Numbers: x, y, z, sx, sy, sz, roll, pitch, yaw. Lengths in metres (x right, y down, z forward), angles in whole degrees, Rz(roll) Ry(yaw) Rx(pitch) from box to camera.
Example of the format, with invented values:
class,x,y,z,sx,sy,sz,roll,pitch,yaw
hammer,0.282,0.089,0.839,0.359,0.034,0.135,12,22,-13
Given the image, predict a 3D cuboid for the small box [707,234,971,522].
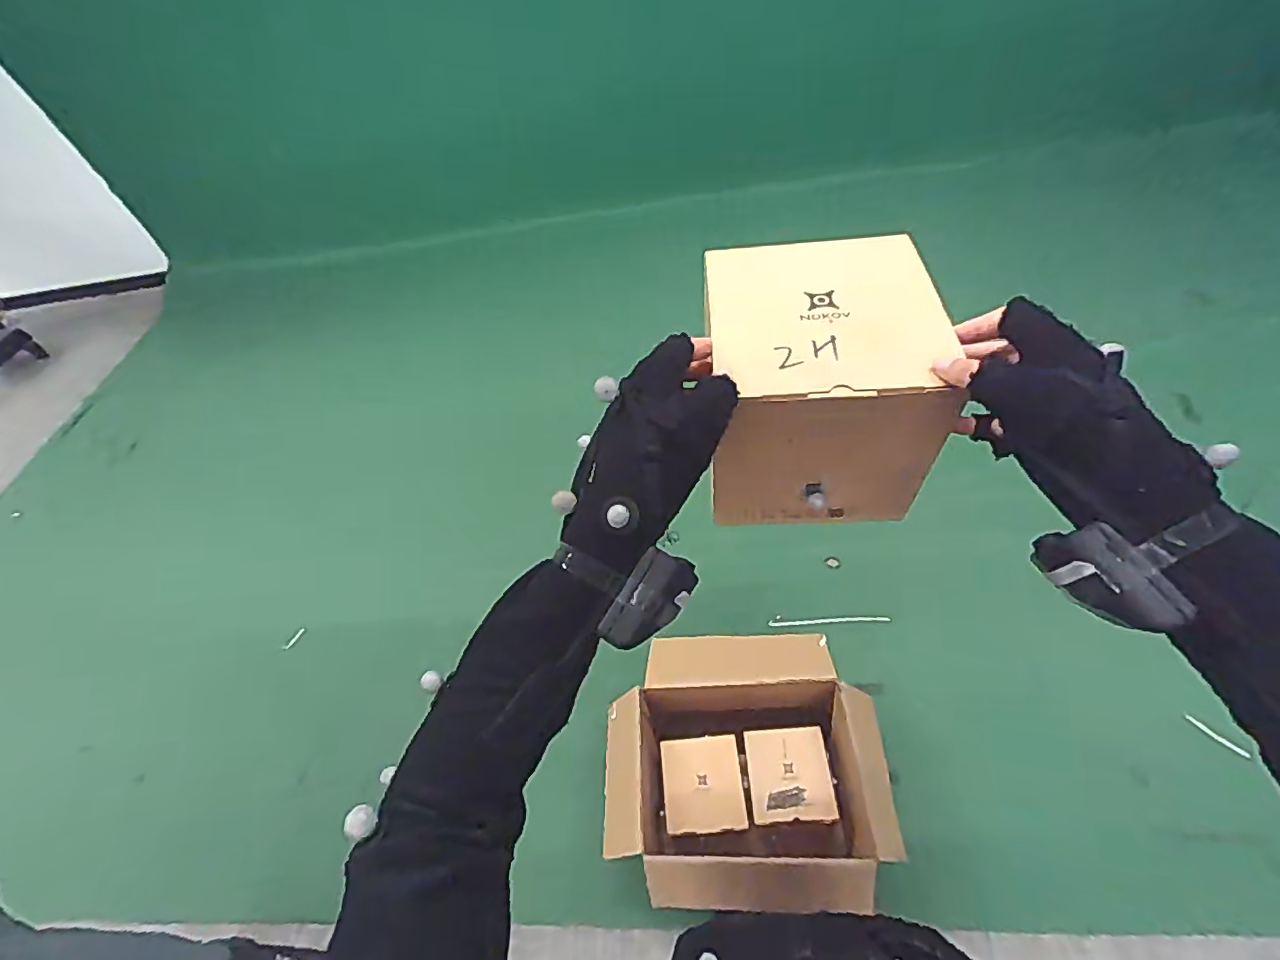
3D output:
class,x,y,z,sx,sy,sz,roll,pitch,yaw
small box,0.141,-0.082,0.463,0.168,0.176,0.179,-2,53,7
